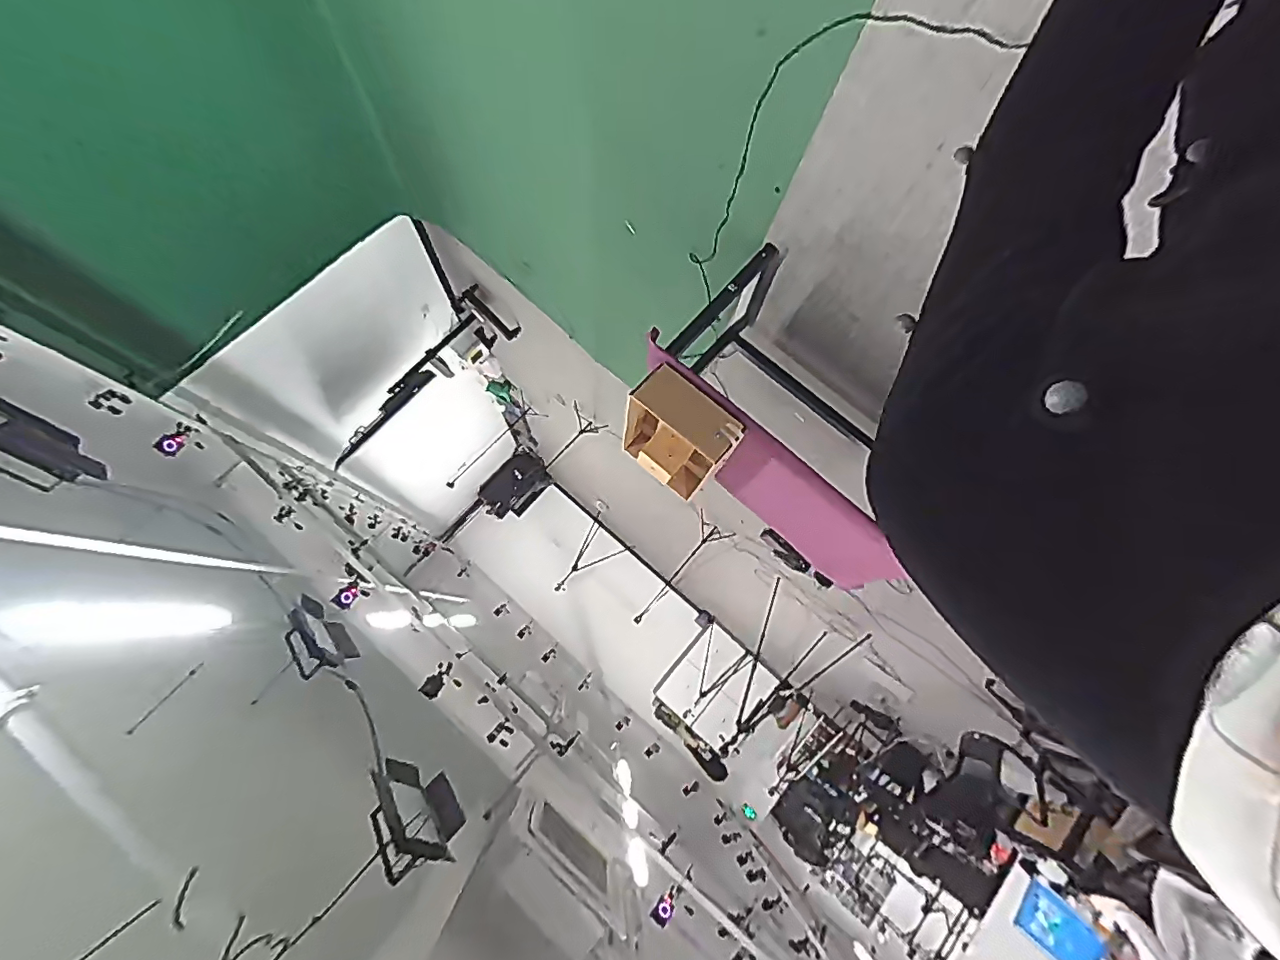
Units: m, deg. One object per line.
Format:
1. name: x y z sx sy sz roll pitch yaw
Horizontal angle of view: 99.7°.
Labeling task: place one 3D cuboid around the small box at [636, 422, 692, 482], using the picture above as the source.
1. small box: 0.103 -0.120 2.302 0.168 0.176 0.179 40 166 4
